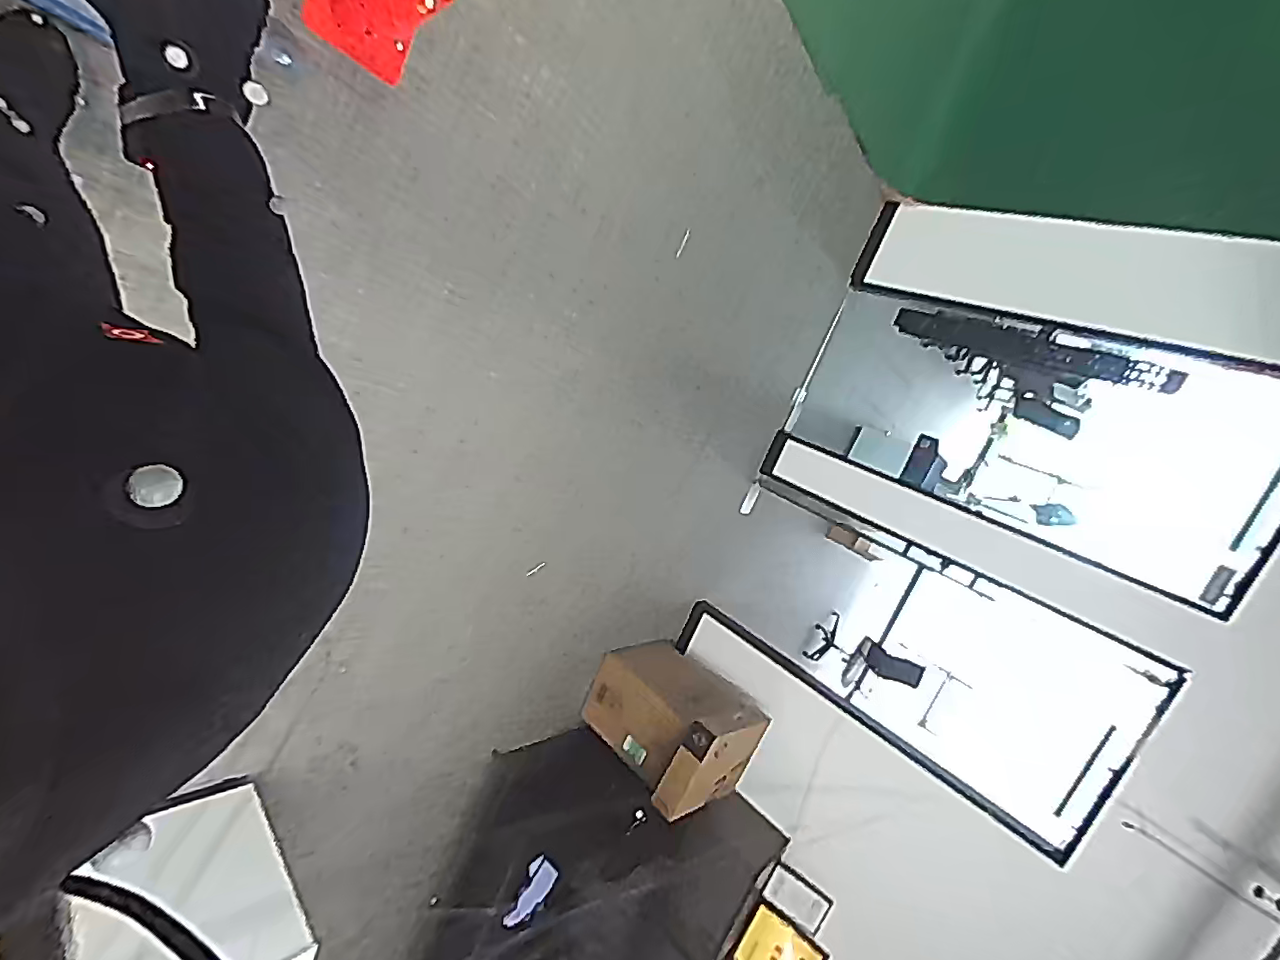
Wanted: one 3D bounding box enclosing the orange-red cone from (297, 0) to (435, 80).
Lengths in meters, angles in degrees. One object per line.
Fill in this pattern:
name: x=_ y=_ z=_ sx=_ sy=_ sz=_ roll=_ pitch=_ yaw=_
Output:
orange-red cone: x=-0.471 y=-0.922 z=1.025 sx=0.199 sy=0.360 sz=0.198 roll=13 pitch=104 yaw=-51
